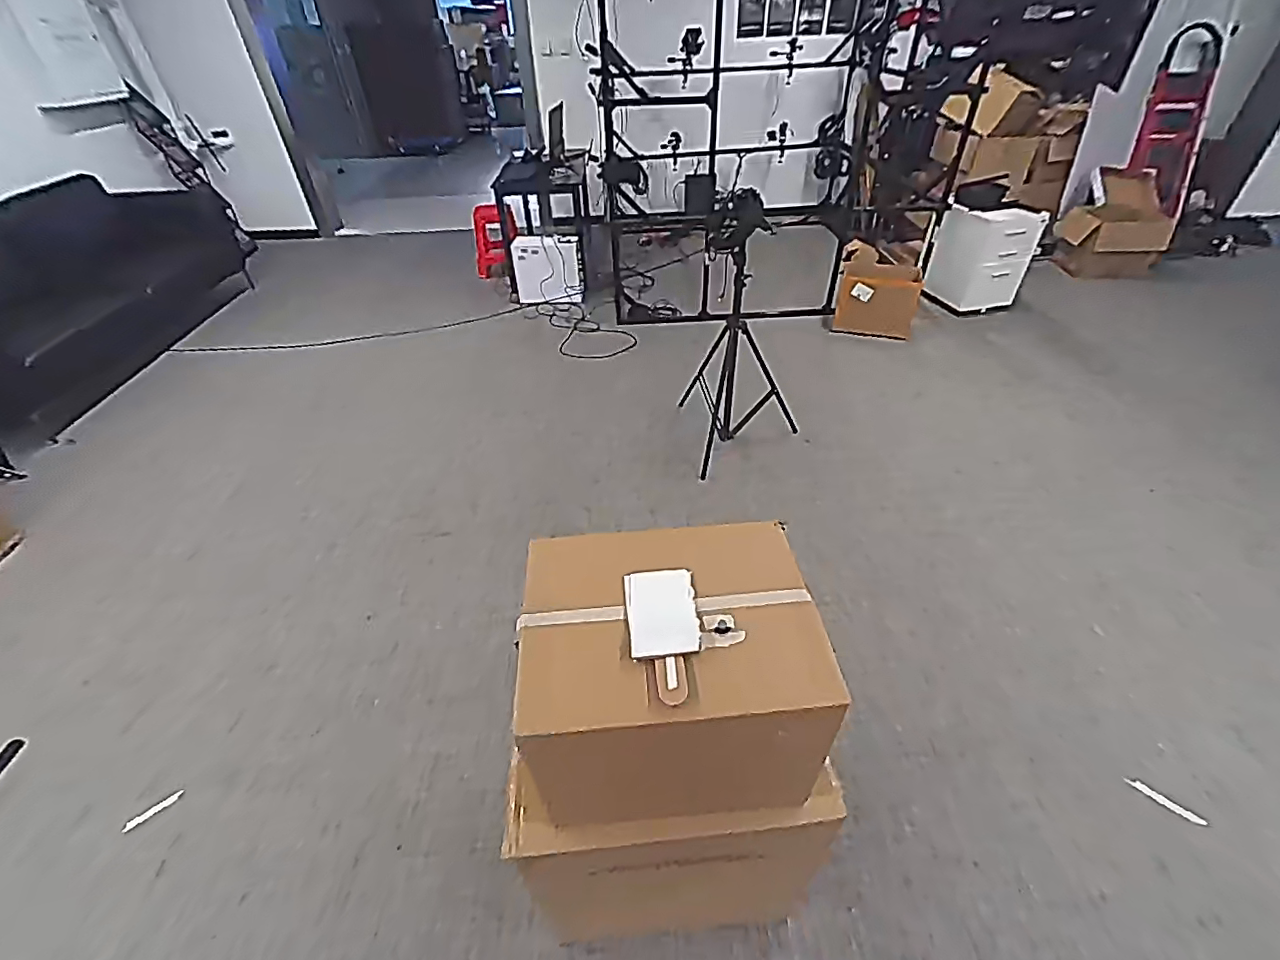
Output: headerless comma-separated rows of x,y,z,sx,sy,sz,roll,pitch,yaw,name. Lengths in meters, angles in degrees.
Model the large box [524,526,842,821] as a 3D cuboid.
0.043,0.302,0.864,0.408,0.320,0.320,-4,41,-3,large box
